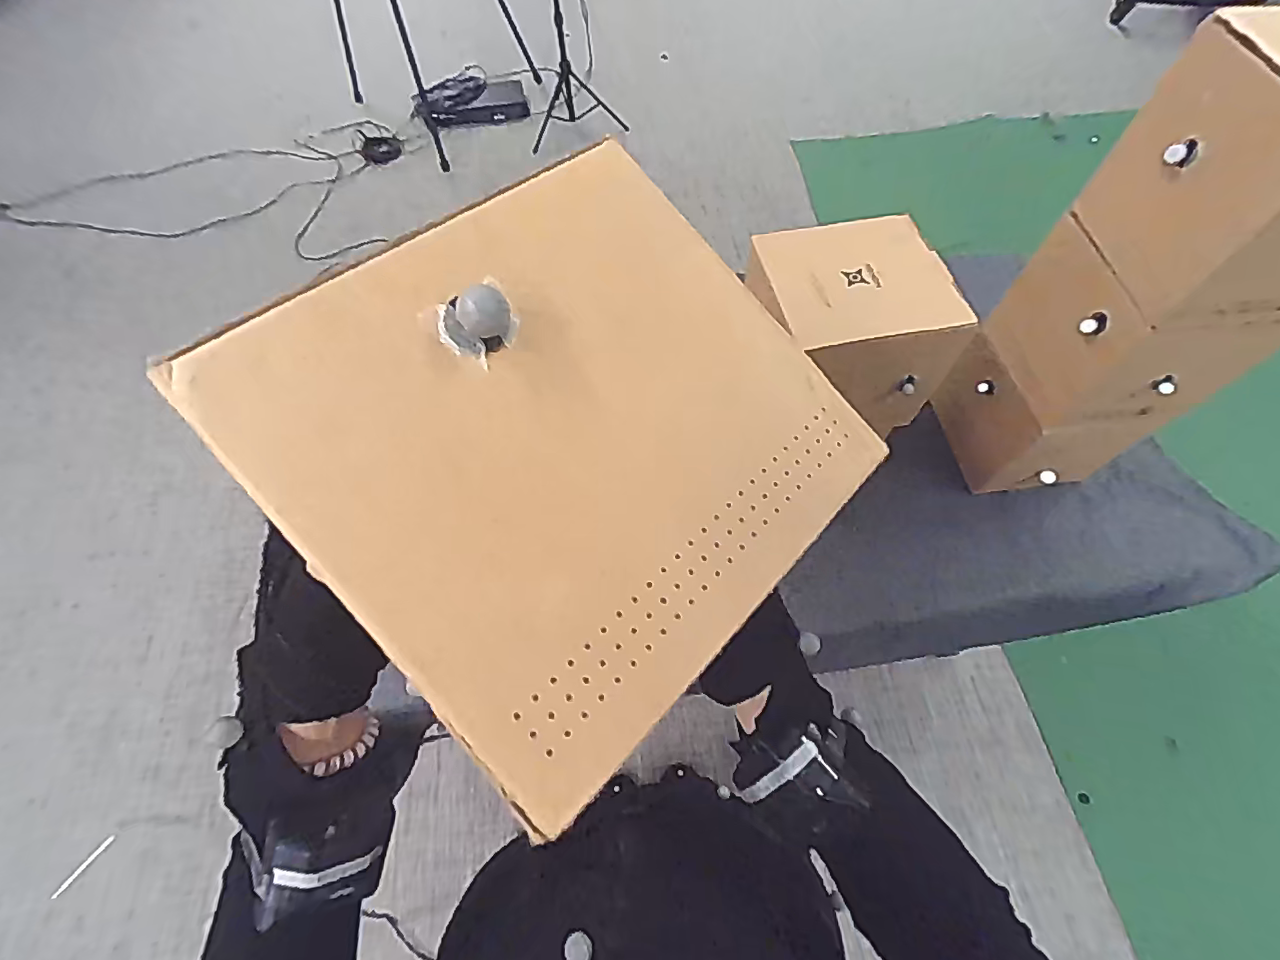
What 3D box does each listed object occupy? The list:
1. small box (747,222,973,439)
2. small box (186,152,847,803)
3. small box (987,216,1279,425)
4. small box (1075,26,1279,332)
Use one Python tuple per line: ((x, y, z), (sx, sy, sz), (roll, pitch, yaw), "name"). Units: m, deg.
((0.220, -0.157, 0.611), (0.179, 0.176, 0.168), (-10, 61, -3), "small box")
((-0.036, 0.001, 0.254), (0.179, 0.168, 0.176), (-41, 89, -24), "small box")
((0.540, -0.174, 0.608), (0.168, 0.176, 0.179), (-5, 61, -1), "small box")
((0.533, -0.252, 0.463), (0.168, 0.176, 0.179), (-4, 61, 1), "small box")
